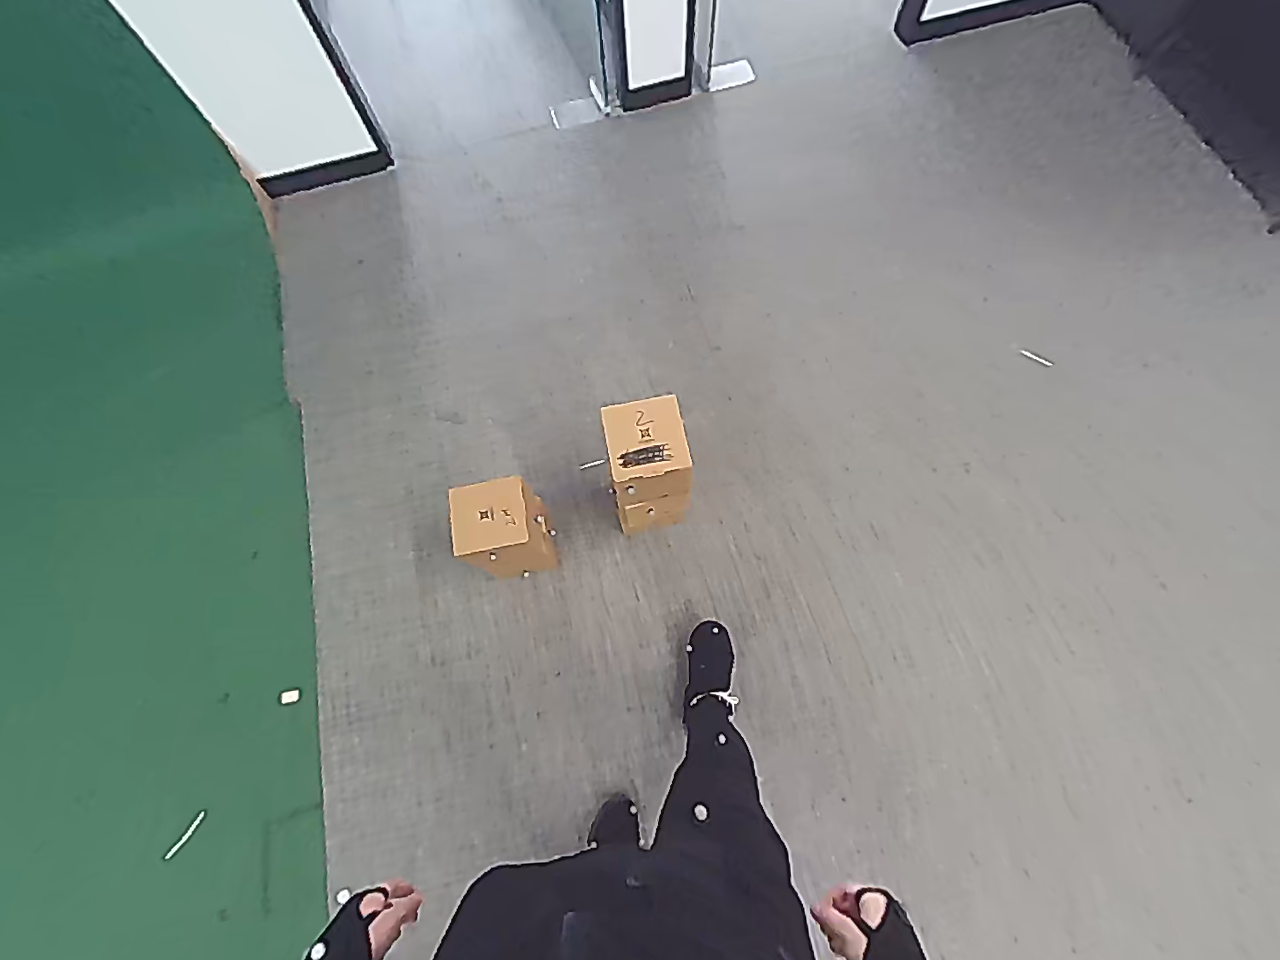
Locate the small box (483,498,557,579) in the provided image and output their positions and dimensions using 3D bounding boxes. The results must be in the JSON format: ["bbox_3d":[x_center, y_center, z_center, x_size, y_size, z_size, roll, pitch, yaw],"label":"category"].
[{"bbox_3d":[-0.329,0.164,1.478,0.179,0.176,0.168,-13,70,-3],"label":"small box"}]

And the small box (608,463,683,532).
[{"bbox_3d":[0.021,0.034,1.505,0.179,0.176,0.168,-14,70,-3],"label":"small box"}]

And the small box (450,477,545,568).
[{"bbox_3d":[-0.344,0.110,1.322,0.179,0.176,0.168,-12,70,-2],"label":"small box"}]

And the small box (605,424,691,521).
[{"bbox_3d":[0.023,-0.008,1.348,0.168,0.176,0.179,-18,70,-3],"label":"small box"}]
